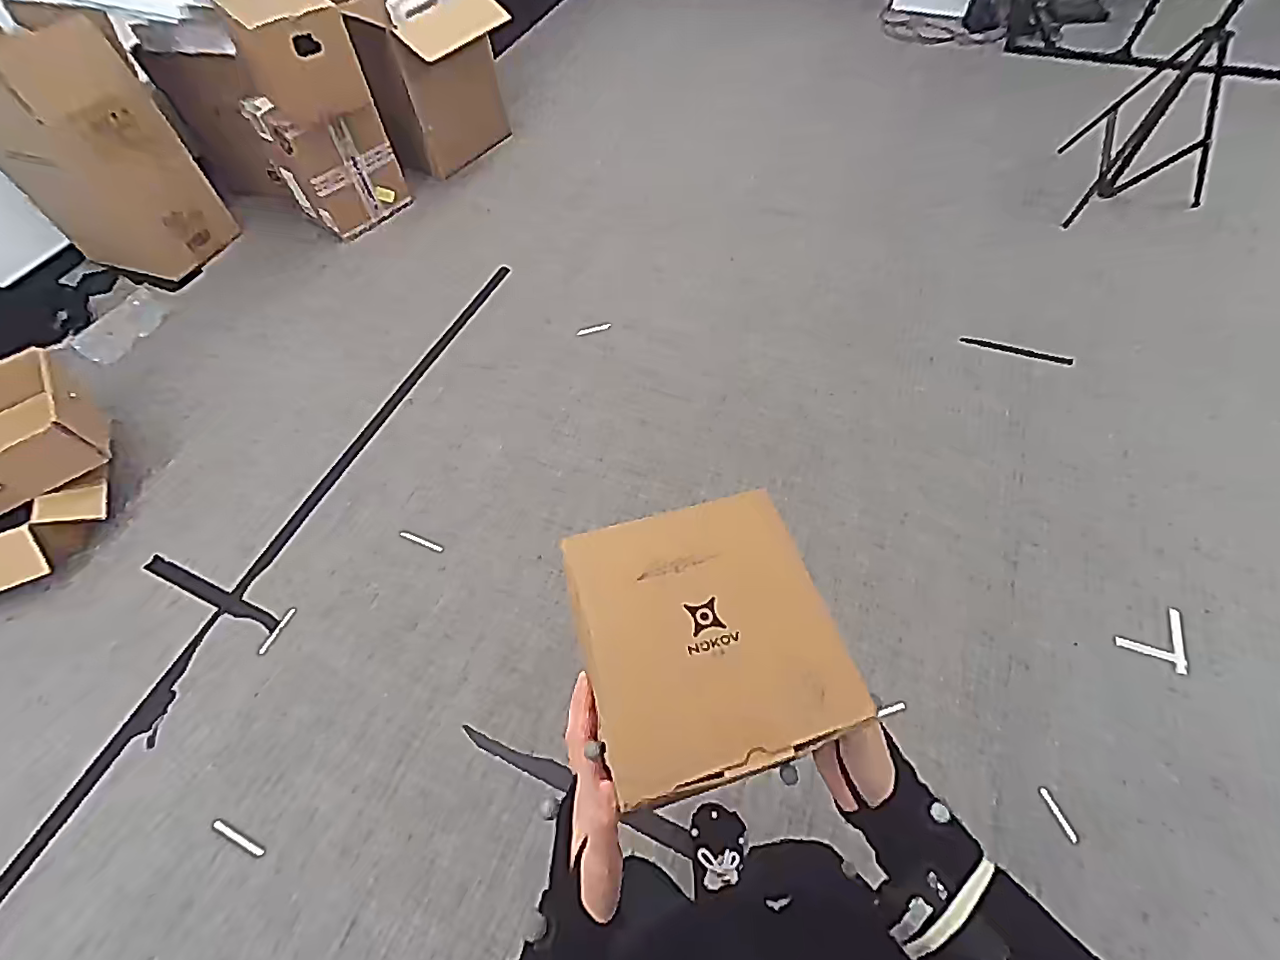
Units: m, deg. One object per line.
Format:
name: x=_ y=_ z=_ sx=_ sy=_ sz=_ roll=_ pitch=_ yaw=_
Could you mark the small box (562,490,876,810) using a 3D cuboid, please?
small box: x=0.042 y=0.138 z=0.424 sx=0.168 sy=0.176 sz=0.179 roll=-13 pitch=57 yaw=-12
